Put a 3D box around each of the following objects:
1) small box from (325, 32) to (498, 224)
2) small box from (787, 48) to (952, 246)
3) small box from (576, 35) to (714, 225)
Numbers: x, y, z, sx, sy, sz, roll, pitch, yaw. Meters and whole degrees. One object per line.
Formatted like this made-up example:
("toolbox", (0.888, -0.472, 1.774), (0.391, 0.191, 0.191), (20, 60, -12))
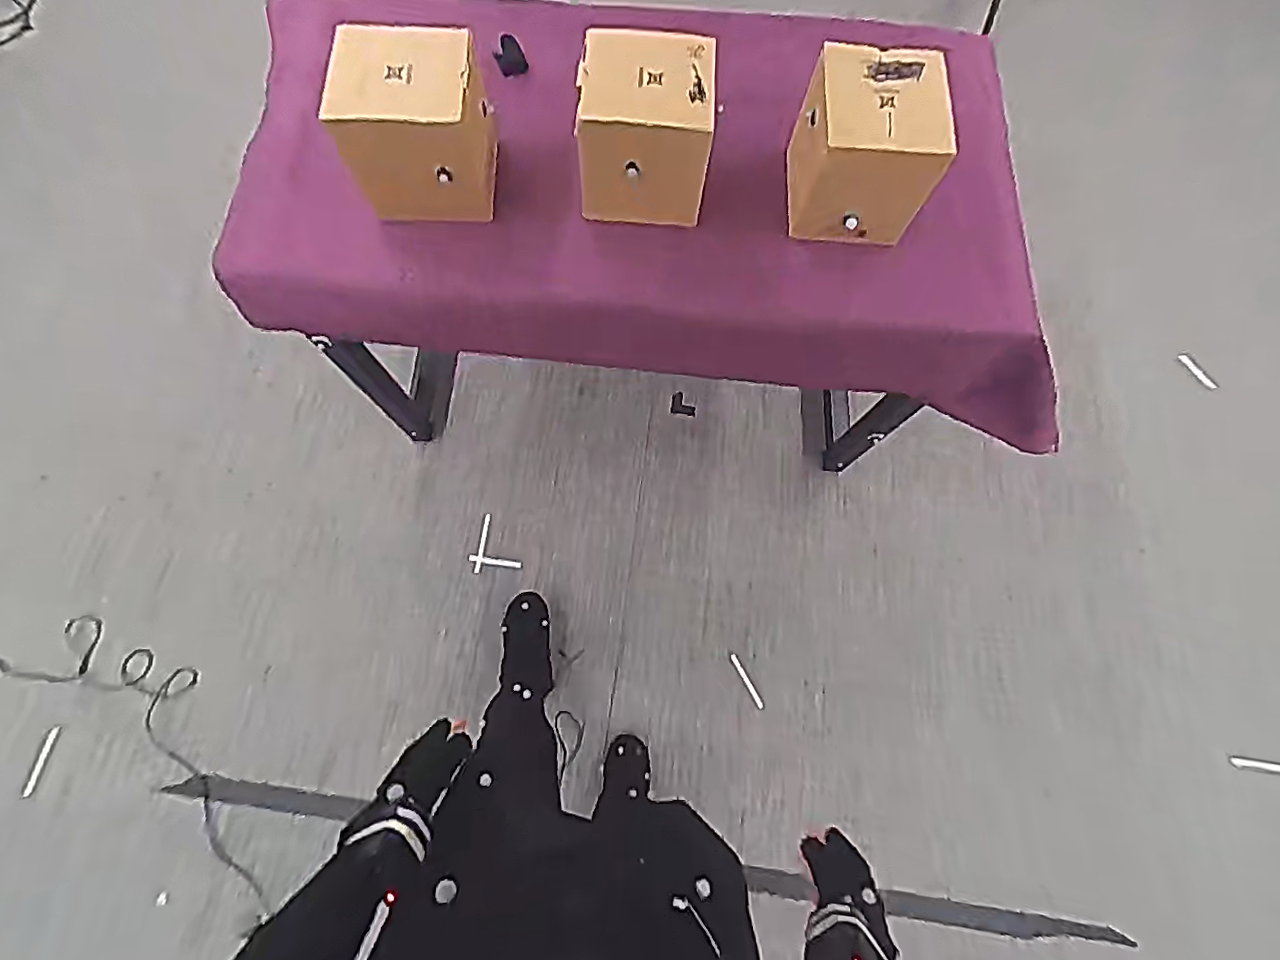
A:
("small box", (-0.308, -0.491, 0.772), (0.179, 0.176, 0.168), (-1, 71, -2))
("small box", (0.318, -0.476, 0.788), (0.168, 0.176, 0.179), (3, 73, 0))
("small box", (0.008, -0.497, 0.785), (0.179, 0.176, 0.168), (3, 72, 0))
